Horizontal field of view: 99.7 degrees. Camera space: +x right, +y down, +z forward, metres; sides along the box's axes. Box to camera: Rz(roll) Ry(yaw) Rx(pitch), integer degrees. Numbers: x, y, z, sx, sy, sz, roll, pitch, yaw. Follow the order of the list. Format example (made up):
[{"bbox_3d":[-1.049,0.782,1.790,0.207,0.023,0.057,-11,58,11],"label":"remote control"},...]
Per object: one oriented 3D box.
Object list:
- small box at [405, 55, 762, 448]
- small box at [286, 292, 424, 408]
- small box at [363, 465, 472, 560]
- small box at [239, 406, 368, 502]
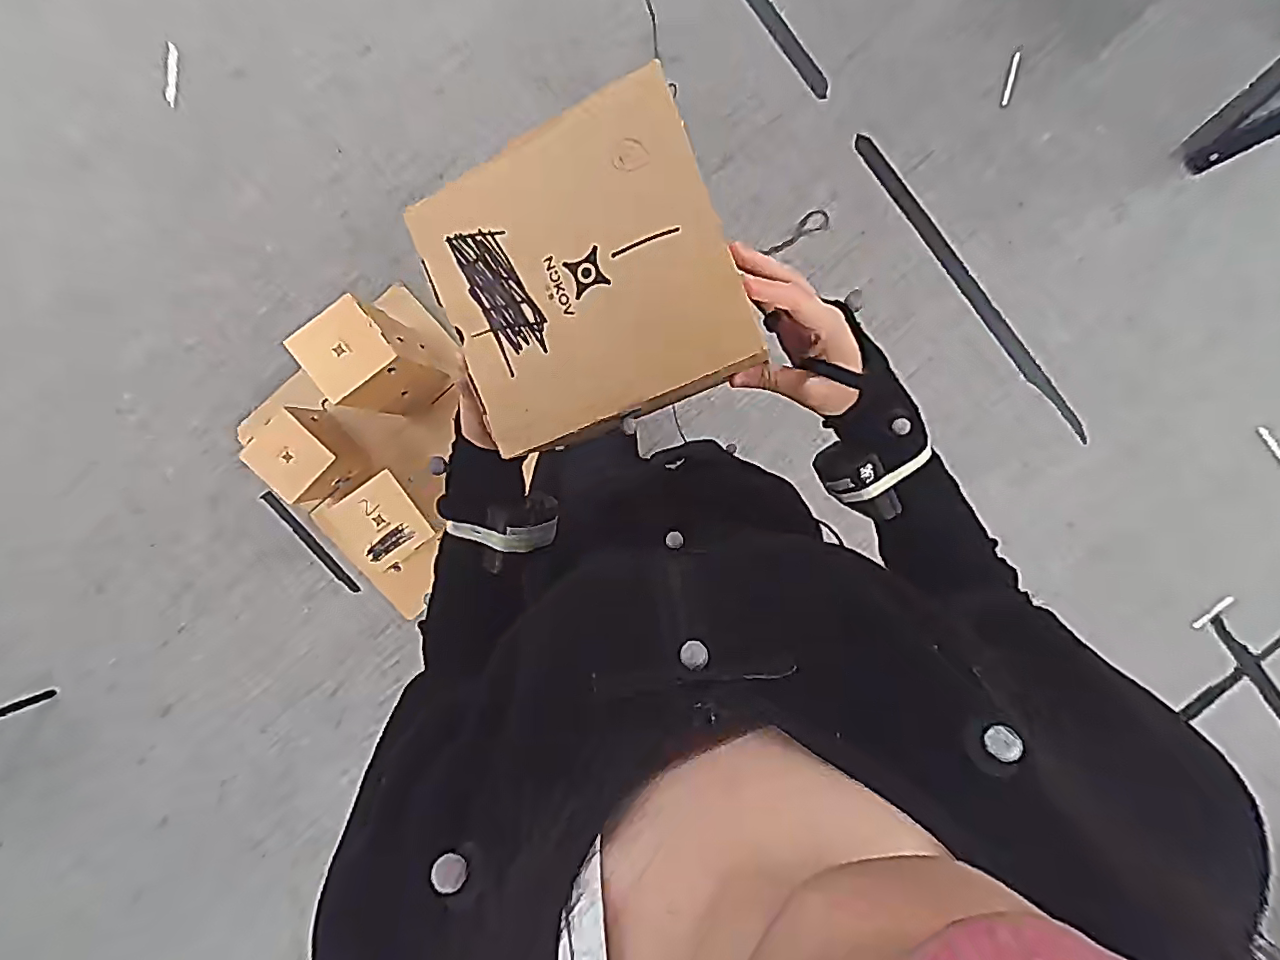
[{"bbox_3d":[-0.020,-0.134,0.389,0.179,0.176,0.168,-21,95,15],"label":"small box"},{"bbox_3d":[-0.618,-0.276,1.197,0.179,0.176,0.168,-37,94,0],"label":"small box"},{"bbox_3d":[-0.557,0.075,1.383,0.168,0.176,0.179,-32,95,0],"label":"small box"},{"bbox_3d":[-0.841,-0.065,1.368,0.179,0.176,0.168,44,93,-3],"label":"small box"}]
